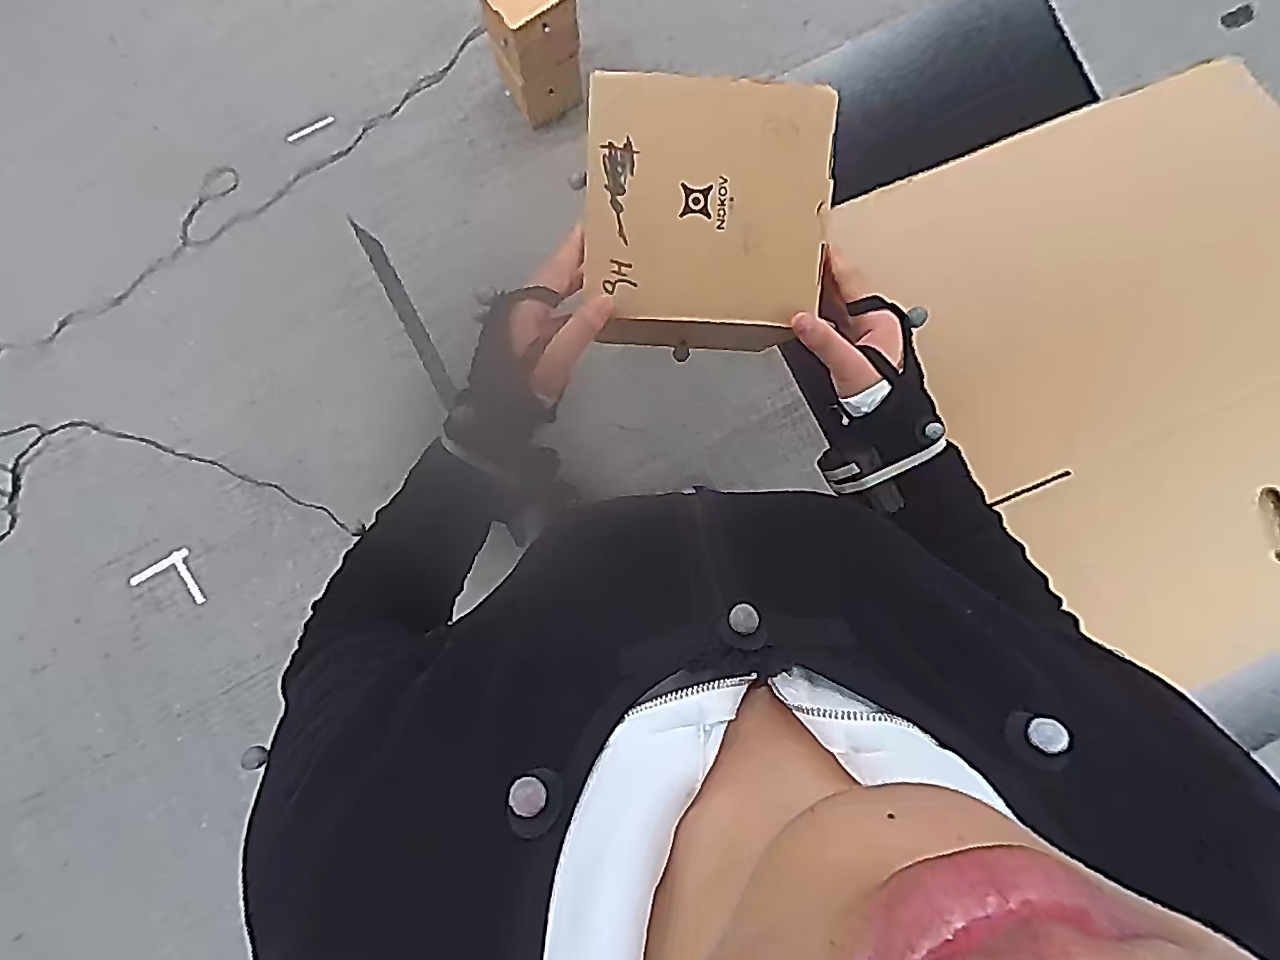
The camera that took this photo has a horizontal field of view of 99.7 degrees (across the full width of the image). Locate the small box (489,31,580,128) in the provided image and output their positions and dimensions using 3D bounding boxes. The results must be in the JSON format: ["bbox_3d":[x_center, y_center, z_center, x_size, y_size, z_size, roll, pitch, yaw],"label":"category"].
[{"bbox_3d":[-0.272,-1.102,1.450,0.179,0.176,0.168,-32,90,-2],"label":"small box"}]

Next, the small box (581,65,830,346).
[{"bbox_3d":[0.041,-0.212,0.467,0.179,0.176,0.168,2,96,-4],"label":"small box"}]

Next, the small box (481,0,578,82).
[{"bbox_3d":[-0.262,-1.110,1.288,0.179,0.176,0.168,-34,90,-3],"label":"small box"}]
